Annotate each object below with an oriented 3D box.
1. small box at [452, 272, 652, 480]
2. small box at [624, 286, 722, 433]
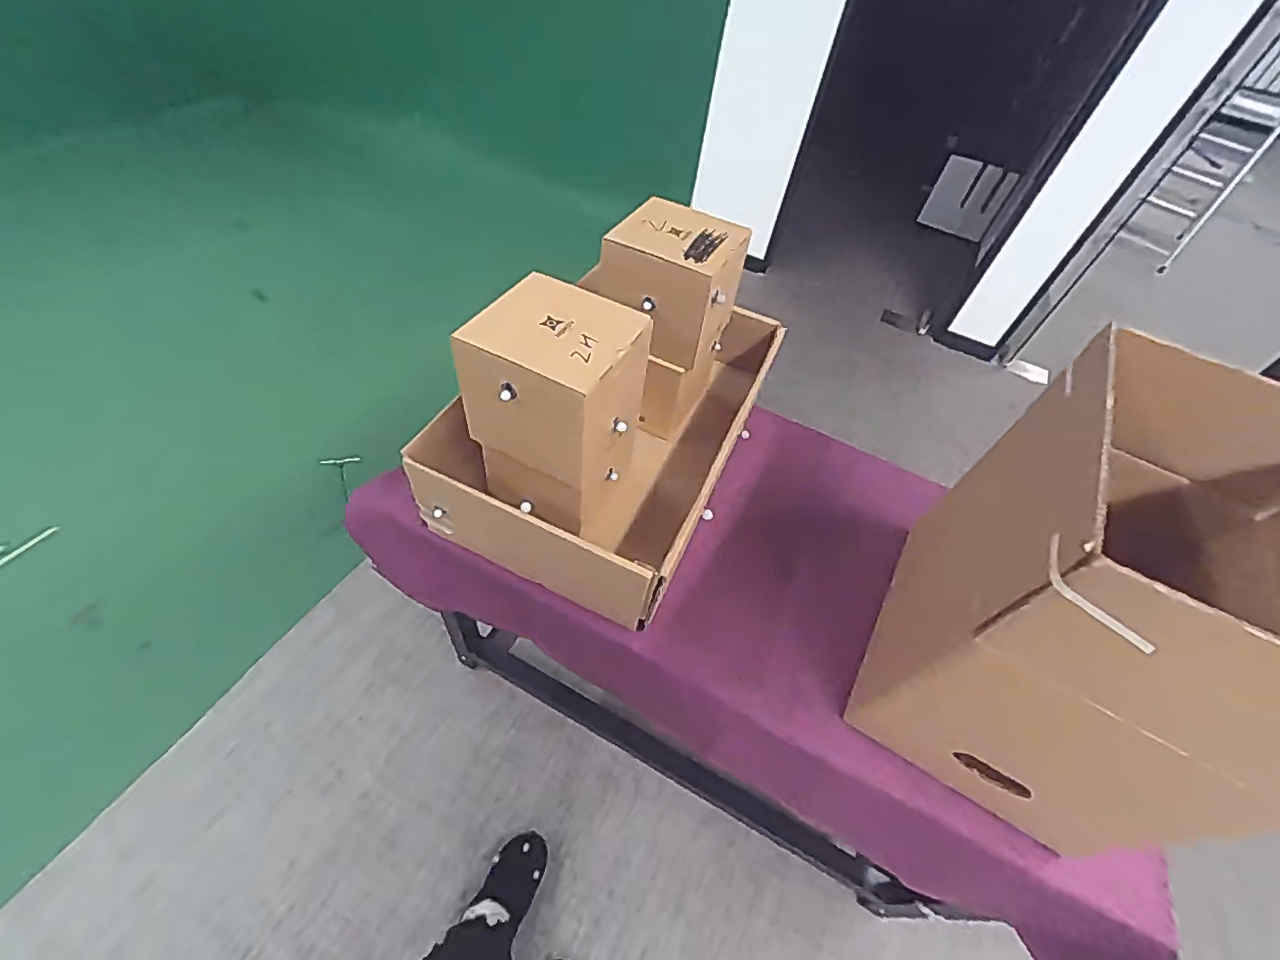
[{"bbox_3d":[-0.106,-0.128,0.688,0.179,0.176,0.168,26,54,12],"label":"small box"},{"bbox_3d":[0.029,-0.216,0.988,0.168,0.176,0.179,26,53,13],"label":"small box"}]
